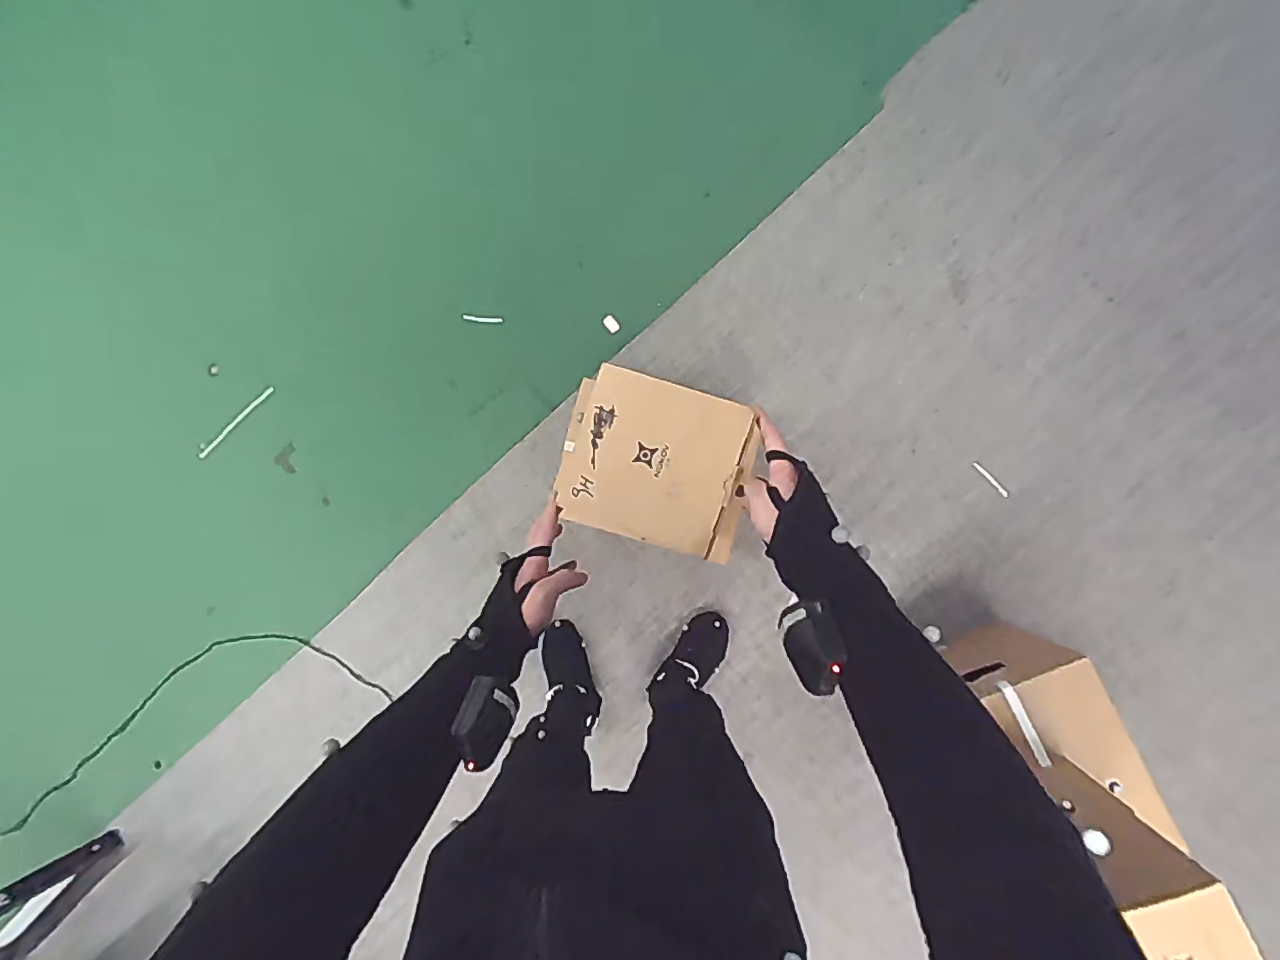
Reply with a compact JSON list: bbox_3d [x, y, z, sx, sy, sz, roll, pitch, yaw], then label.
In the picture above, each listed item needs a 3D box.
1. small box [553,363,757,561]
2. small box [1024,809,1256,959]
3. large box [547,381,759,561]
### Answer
[{"bbox_3d":[0.025,-0.020,0.643,0.179,0.176,0.168,20,91,10],"label":"small box"},{"bbox_3d":[0.685,0.608,0.759,0.179,0.176,0.168,-24,85,7],"label":"small box"},{"bbox_3d":[0.048,-0.017,1.292,0.408,0.320,0.320,15,88,10],"label":"large box"}]
